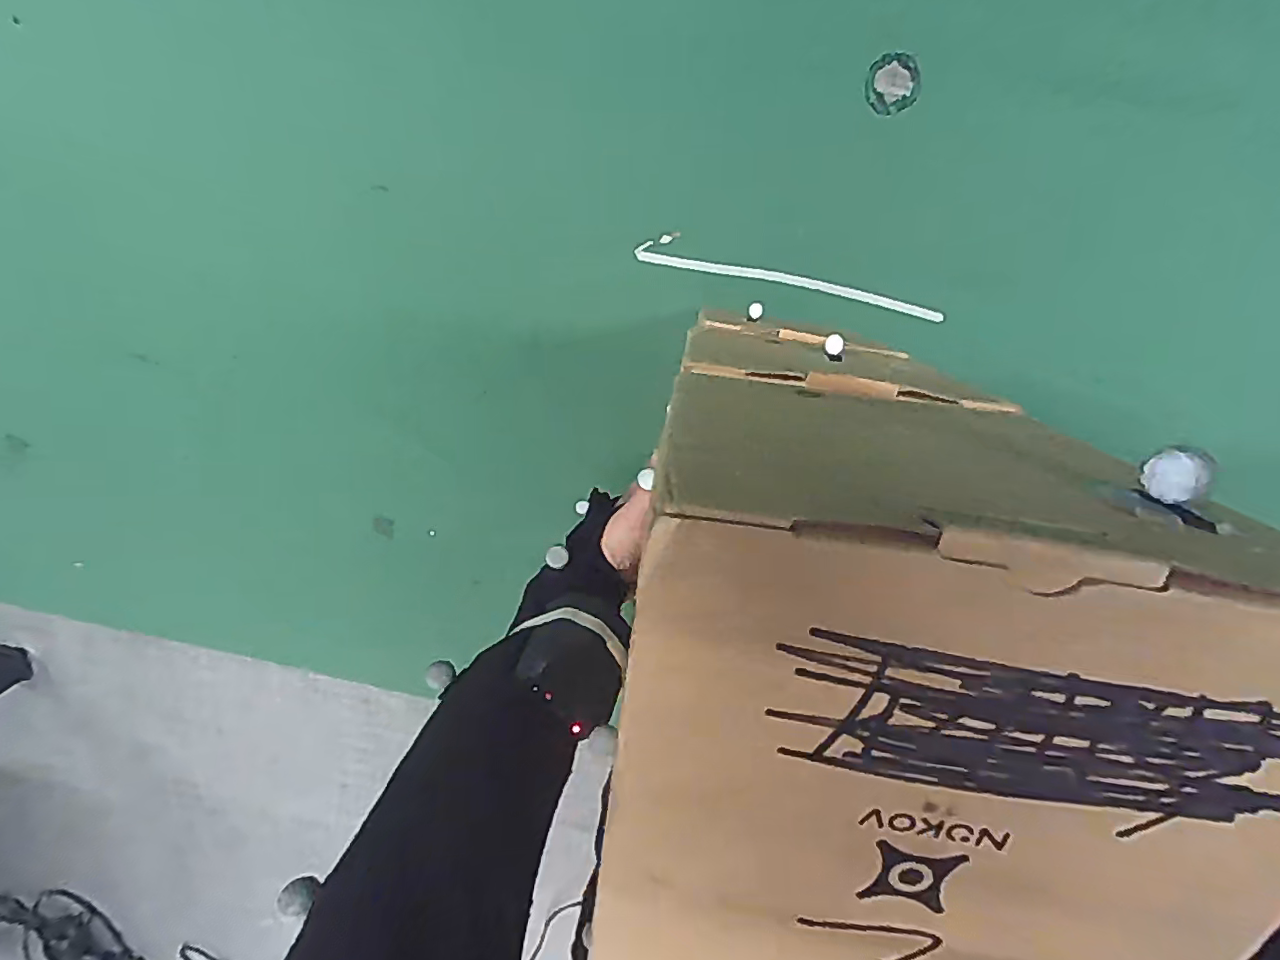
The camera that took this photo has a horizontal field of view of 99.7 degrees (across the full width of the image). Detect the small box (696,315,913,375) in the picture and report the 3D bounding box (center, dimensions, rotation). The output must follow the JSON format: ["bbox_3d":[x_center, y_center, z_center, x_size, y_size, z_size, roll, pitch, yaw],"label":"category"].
[{"bbox_3d":[0.123,-0.054,0.516,0.168,0.176,0.179,11,112,3],"label":"small box"}]

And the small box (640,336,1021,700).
[{"bbox_3d":[0.101,0.009,0.367,0.168,0.176,0.179,9,111,3],"label":"small box"}]
